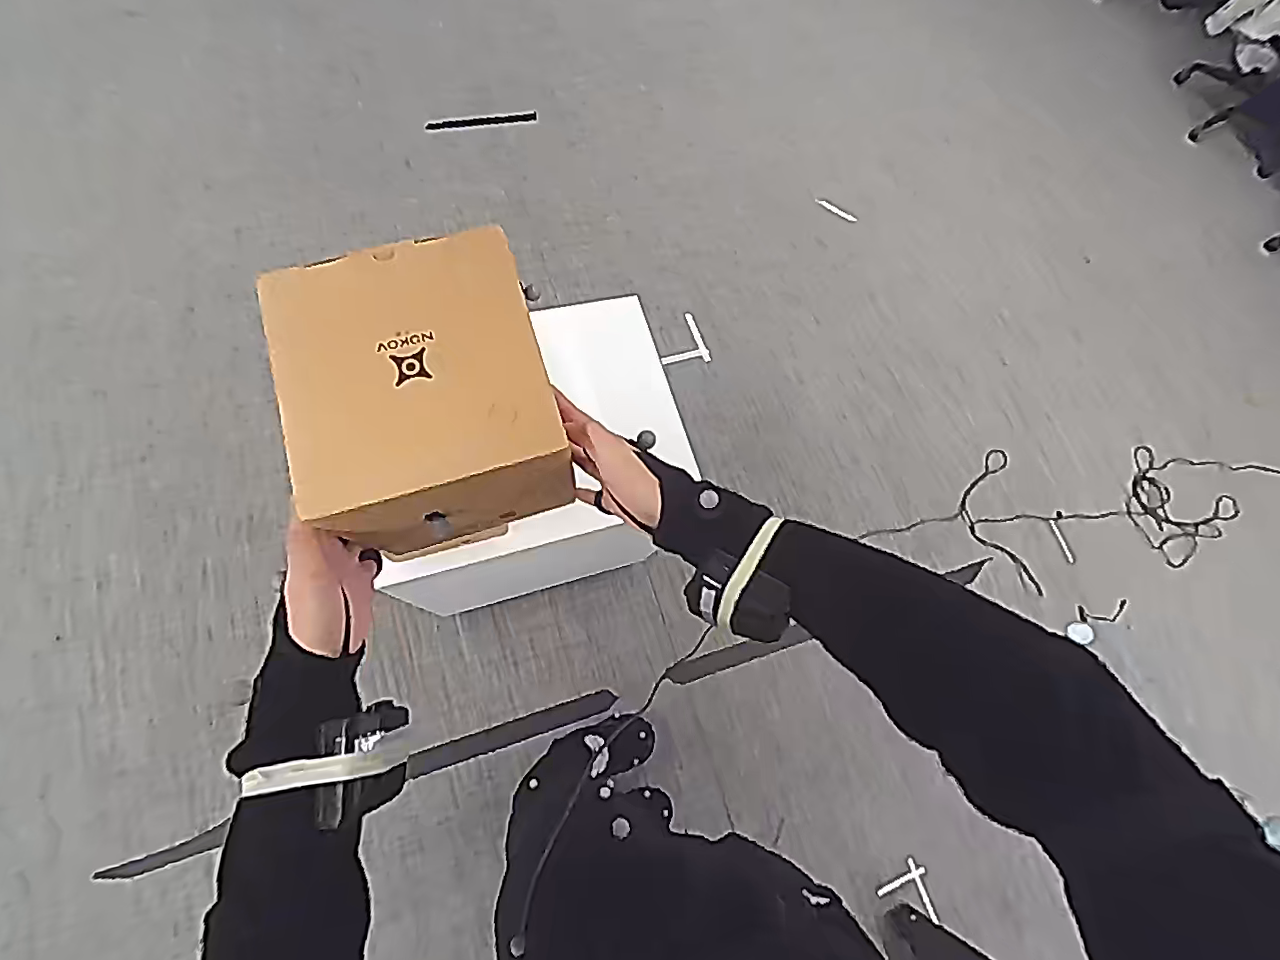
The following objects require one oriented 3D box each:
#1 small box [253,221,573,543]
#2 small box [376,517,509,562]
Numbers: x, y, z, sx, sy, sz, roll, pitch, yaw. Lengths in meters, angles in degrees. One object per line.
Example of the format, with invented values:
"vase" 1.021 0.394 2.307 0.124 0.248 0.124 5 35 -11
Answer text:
"small box" -0.154 -0.057 0.421 0.168 0.176 0.179 -17 77 -9
"small box" -0.276 -0.007 0.719 0.168 0.176 0.179 -14 74 -15
